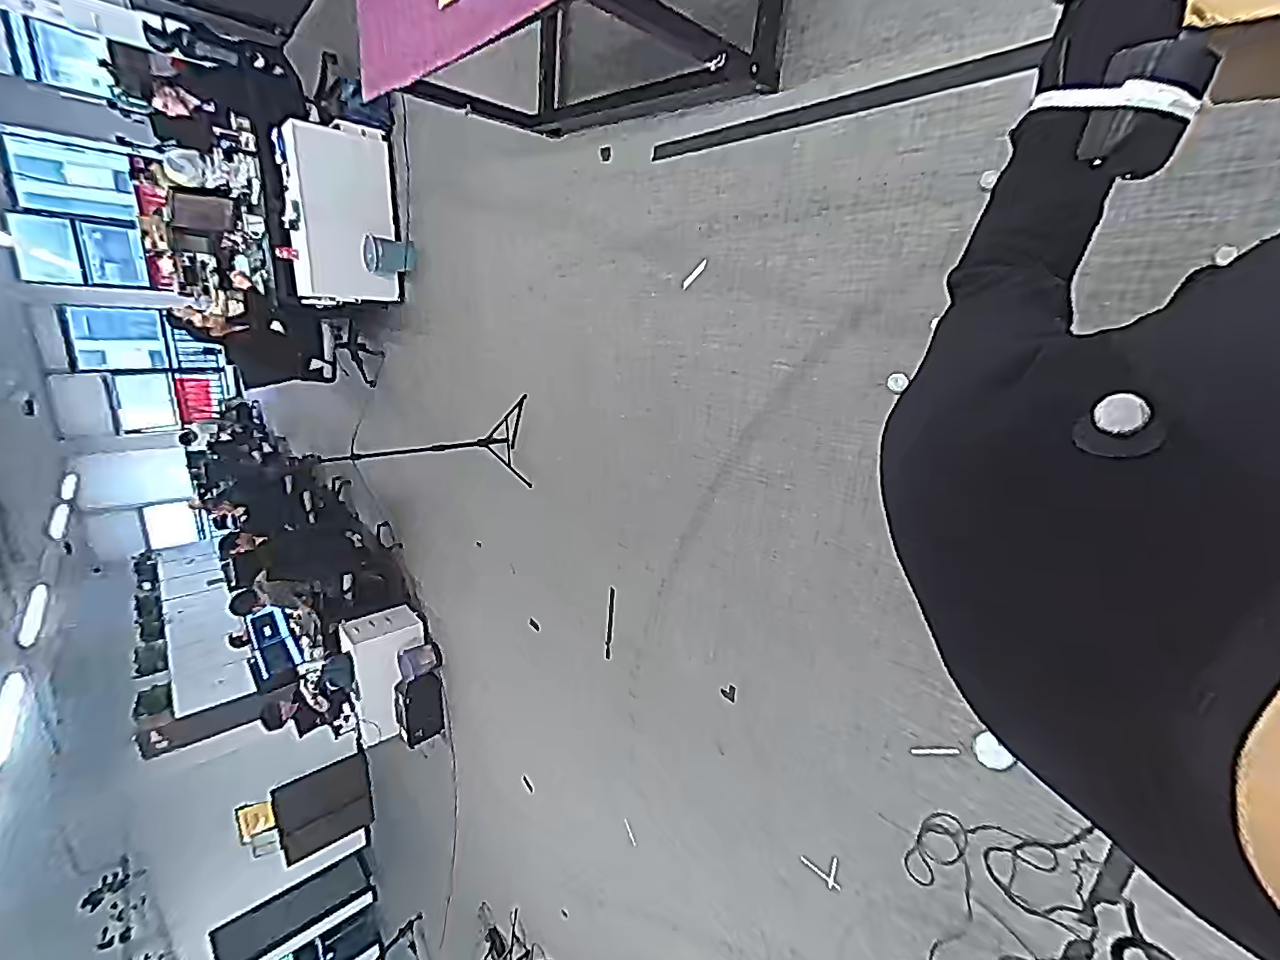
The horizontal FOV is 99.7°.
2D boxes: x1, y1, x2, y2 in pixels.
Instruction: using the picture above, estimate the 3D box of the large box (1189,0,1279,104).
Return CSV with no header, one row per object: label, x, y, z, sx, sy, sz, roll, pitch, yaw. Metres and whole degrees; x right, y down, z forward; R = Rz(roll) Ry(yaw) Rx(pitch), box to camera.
large box,0.587,-0.409,0.248,0.408,0.320,0.320,23,124,41
